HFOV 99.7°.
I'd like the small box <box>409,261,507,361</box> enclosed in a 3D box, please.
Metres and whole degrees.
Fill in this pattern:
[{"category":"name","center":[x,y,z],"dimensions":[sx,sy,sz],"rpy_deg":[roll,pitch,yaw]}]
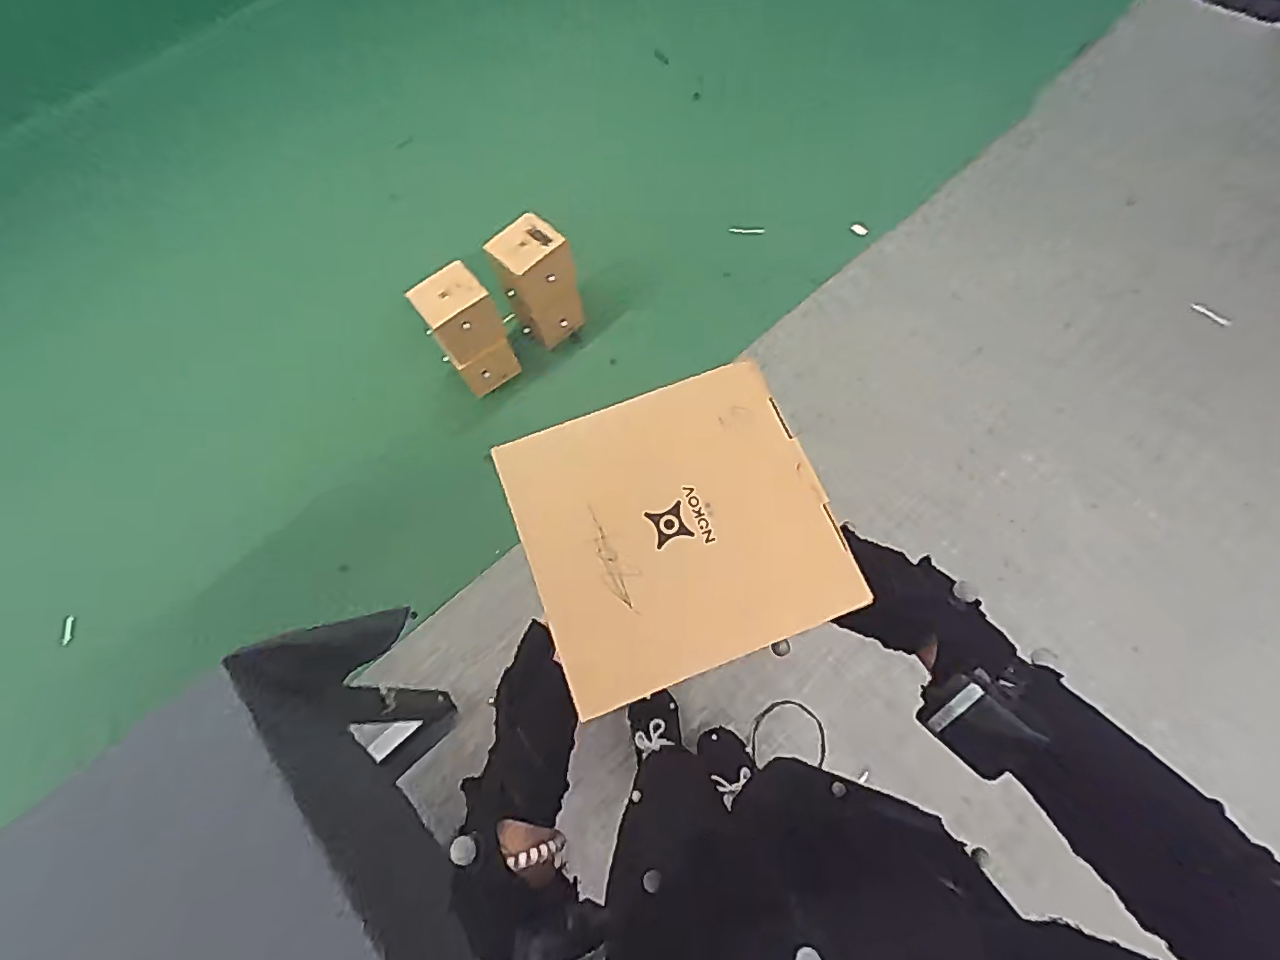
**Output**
[{"category":"small box","center":[-0.511,-0.475,1.539],"dimensions":[0.179,0.176,0.168],"rpy_deg":[-37,69,-10]}]

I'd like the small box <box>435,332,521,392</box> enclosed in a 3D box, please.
[{"category":"small box","center":[-0.496,-0.399,1.685],"dimensions":[0.168,0.176,0.179],"rpy_deg":[-36,68,-9]}]

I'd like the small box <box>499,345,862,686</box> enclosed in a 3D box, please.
[{"category":"small box","center":[0.019,0.034,0.392],"dimensions":[0.179,0.176,0.168],"rpy_deg":[-18,73,-5]}]
